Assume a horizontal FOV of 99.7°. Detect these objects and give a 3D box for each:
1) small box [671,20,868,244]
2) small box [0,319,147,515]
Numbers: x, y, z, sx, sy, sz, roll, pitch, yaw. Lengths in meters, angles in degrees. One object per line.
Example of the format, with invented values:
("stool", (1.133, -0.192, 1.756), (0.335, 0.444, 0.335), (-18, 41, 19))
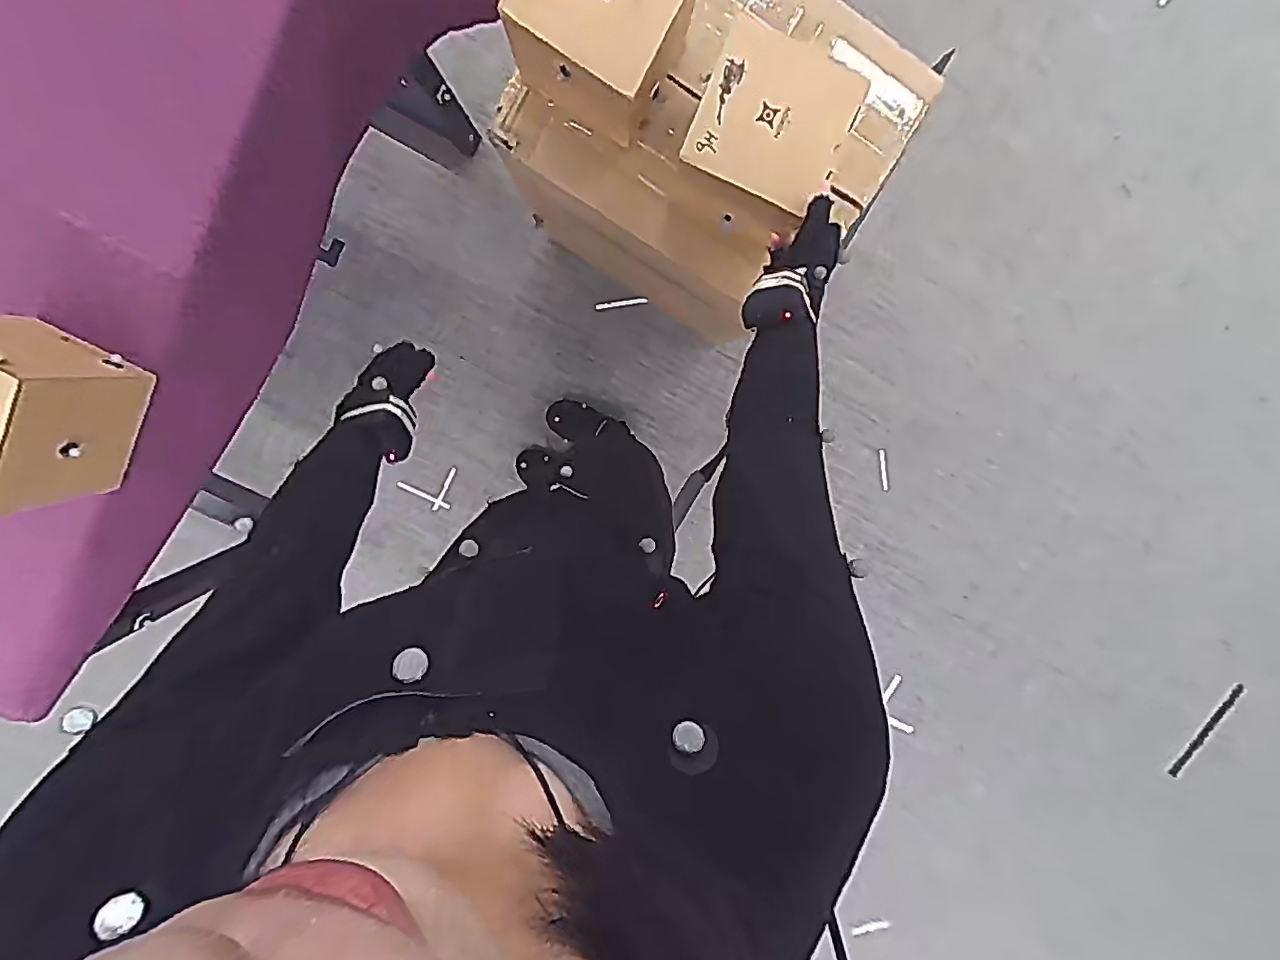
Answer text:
("small box", (0.153, -0.432, 0.710), (0.179, 0.176, 0.168), (23, 100, -5))
("small box", (-0.749, -0.082, 0.639), (0.168, 0.176, 0.179), (27, 100, -6))
